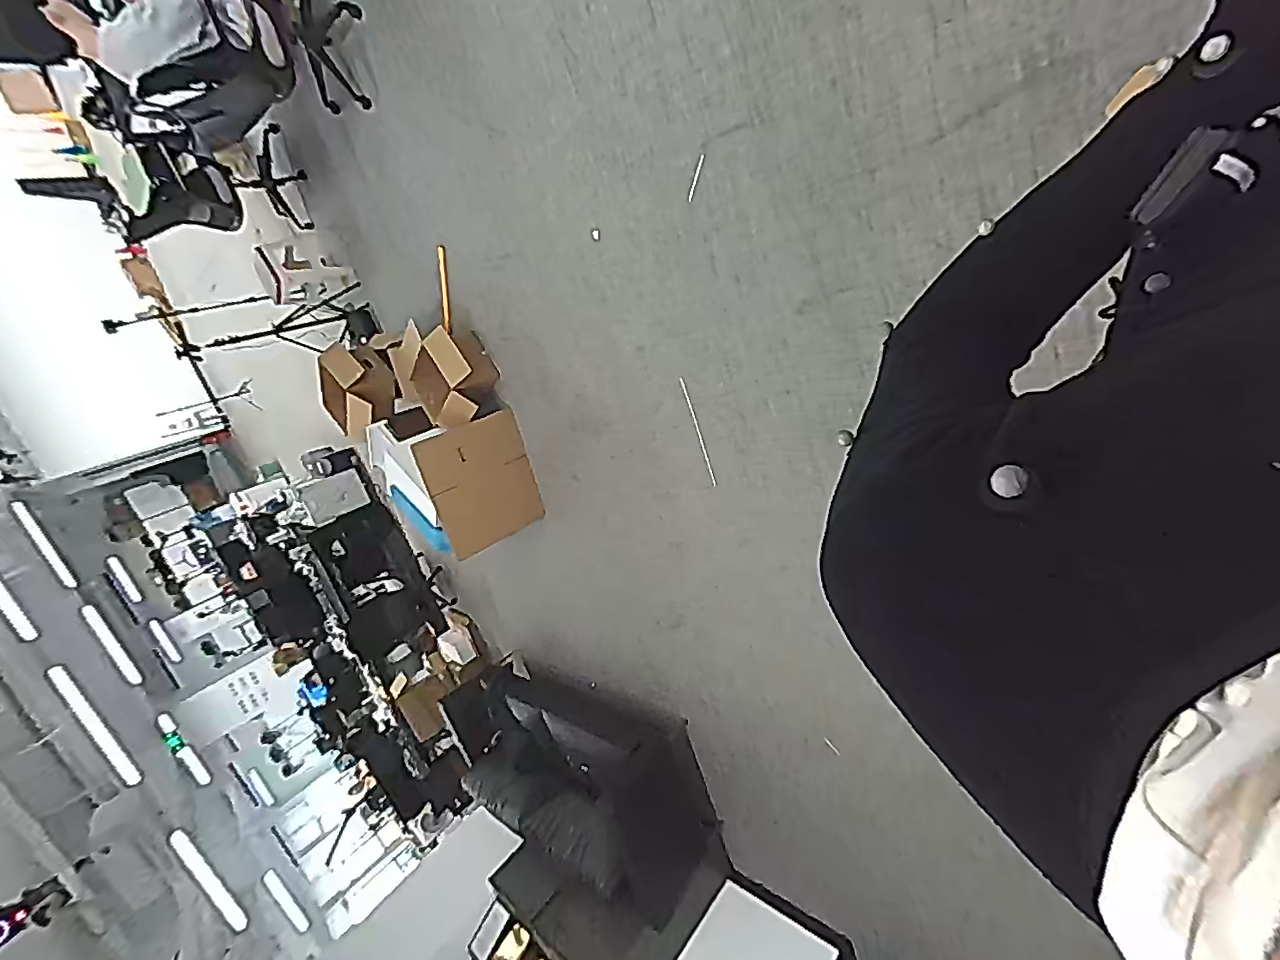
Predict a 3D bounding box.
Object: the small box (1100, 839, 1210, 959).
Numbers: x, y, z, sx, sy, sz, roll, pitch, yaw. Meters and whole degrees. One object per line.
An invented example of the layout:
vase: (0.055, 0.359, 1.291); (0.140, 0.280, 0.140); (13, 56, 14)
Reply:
small box: (1.233, 1.020, 1.299); (0.168, 0.176, 0.179); (12, 120, 43)
